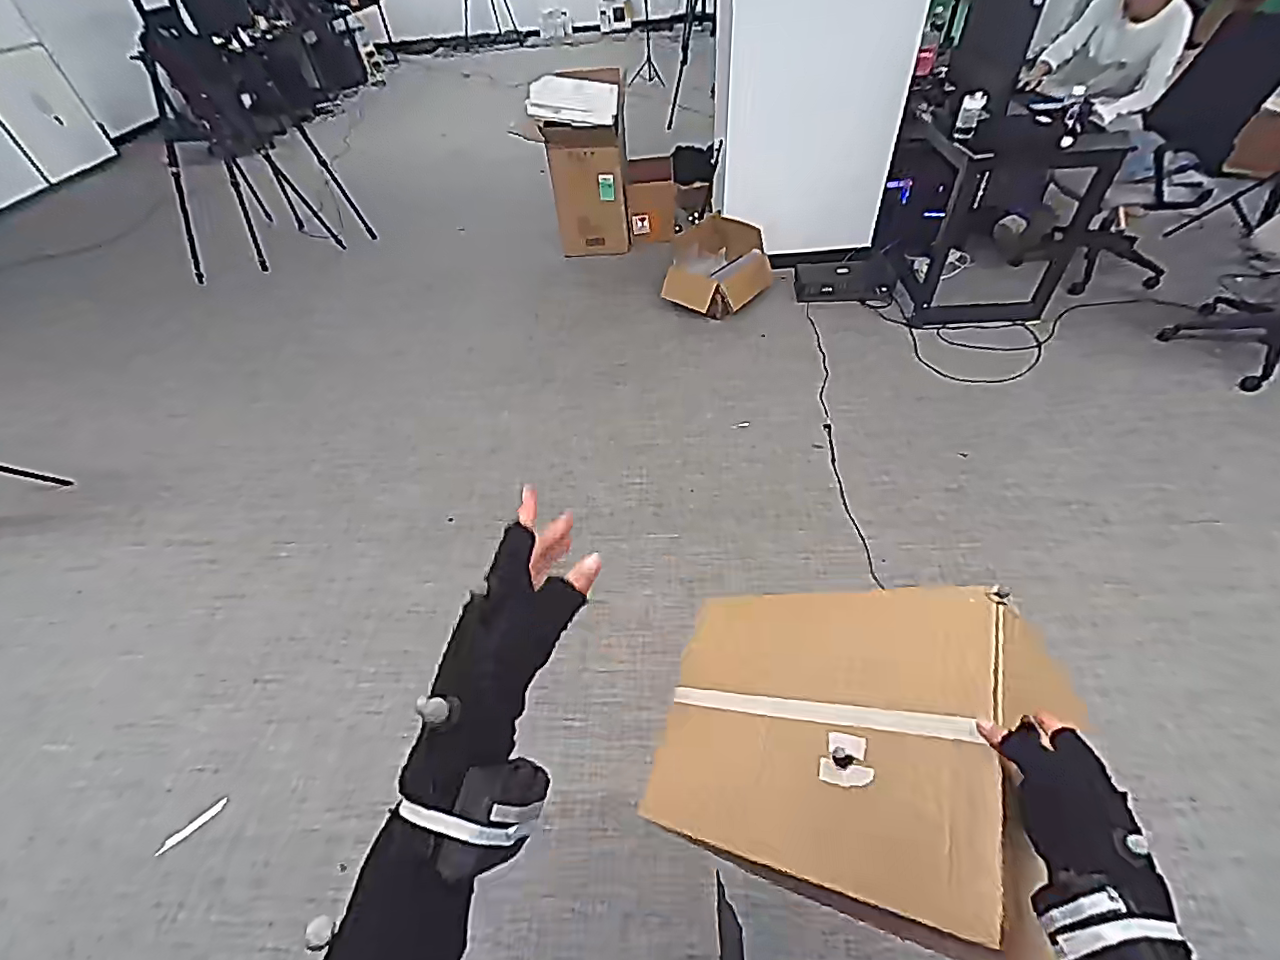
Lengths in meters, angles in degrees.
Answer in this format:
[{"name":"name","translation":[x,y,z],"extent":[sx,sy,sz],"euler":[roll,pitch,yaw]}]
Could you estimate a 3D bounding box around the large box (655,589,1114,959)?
[{"name":"large box","translation":[0.300,0.365,0.695],"extent":[0.408,0.320,0.320],"euler":[-18,38,48]}]
